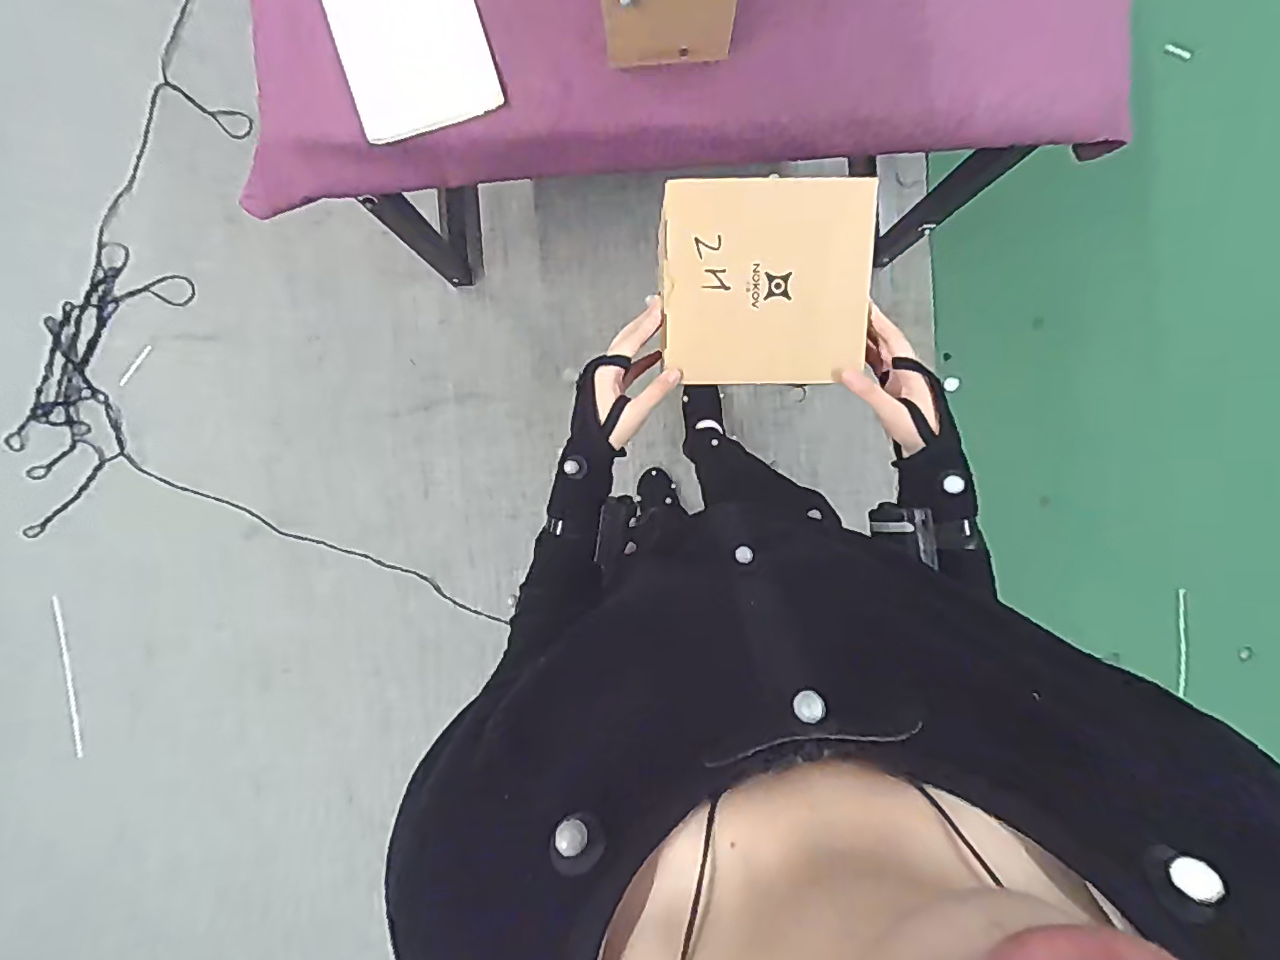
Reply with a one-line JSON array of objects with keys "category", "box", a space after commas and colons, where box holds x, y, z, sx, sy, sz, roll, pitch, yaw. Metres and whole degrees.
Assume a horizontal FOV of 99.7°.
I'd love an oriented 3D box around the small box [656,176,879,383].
[{"category": "small box", "box": [0.107, -0.182, 0.532, 0.179, 0.176, 0.168, 0, 101, 0]}]
